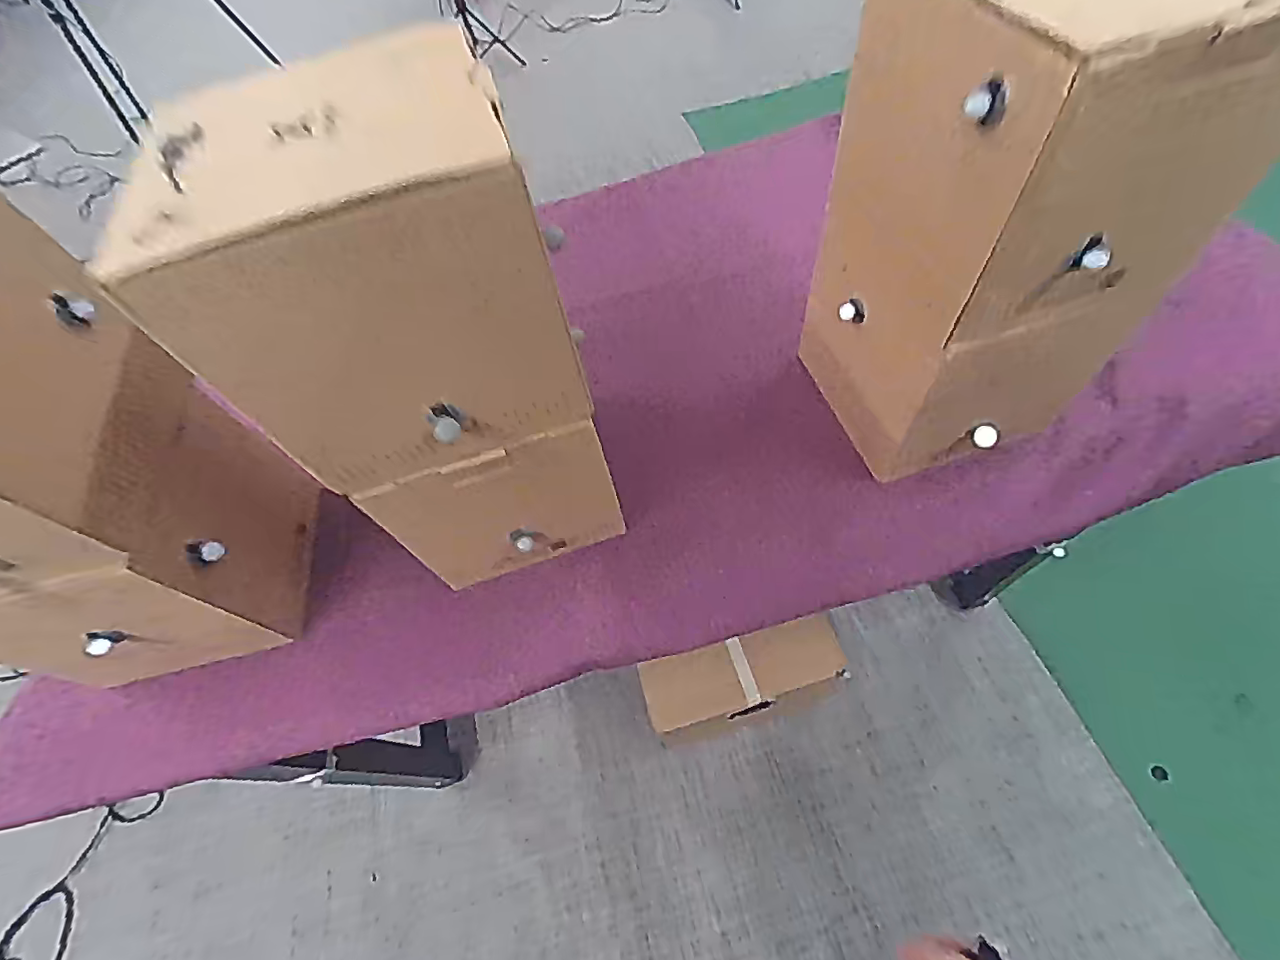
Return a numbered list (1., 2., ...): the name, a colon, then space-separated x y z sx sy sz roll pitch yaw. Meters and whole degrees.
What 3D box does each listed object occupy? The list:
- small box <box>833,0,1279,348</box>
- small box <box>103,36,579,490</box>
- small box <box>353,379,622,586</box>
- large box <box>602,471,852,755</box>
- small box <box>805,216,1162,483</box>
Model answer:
1. small box: 0.243 -0.215 0.337 0.168 0.176 0.179 -17 58 -3
2. small box: -0.143 -0.121 0.327 0.179 0.176 0.168 -18 56 -5
3. small box: -0.123 -0.036 0.466 0.168 0.176 0.179 -18 57 -3
4. large box: 0.135 0.258 1.035 0.320 0.320 0.408 -18 59 -2
5. small box: 0.262 -0.126 0.472 0.168 0.176 0.179 -17 58 -3
